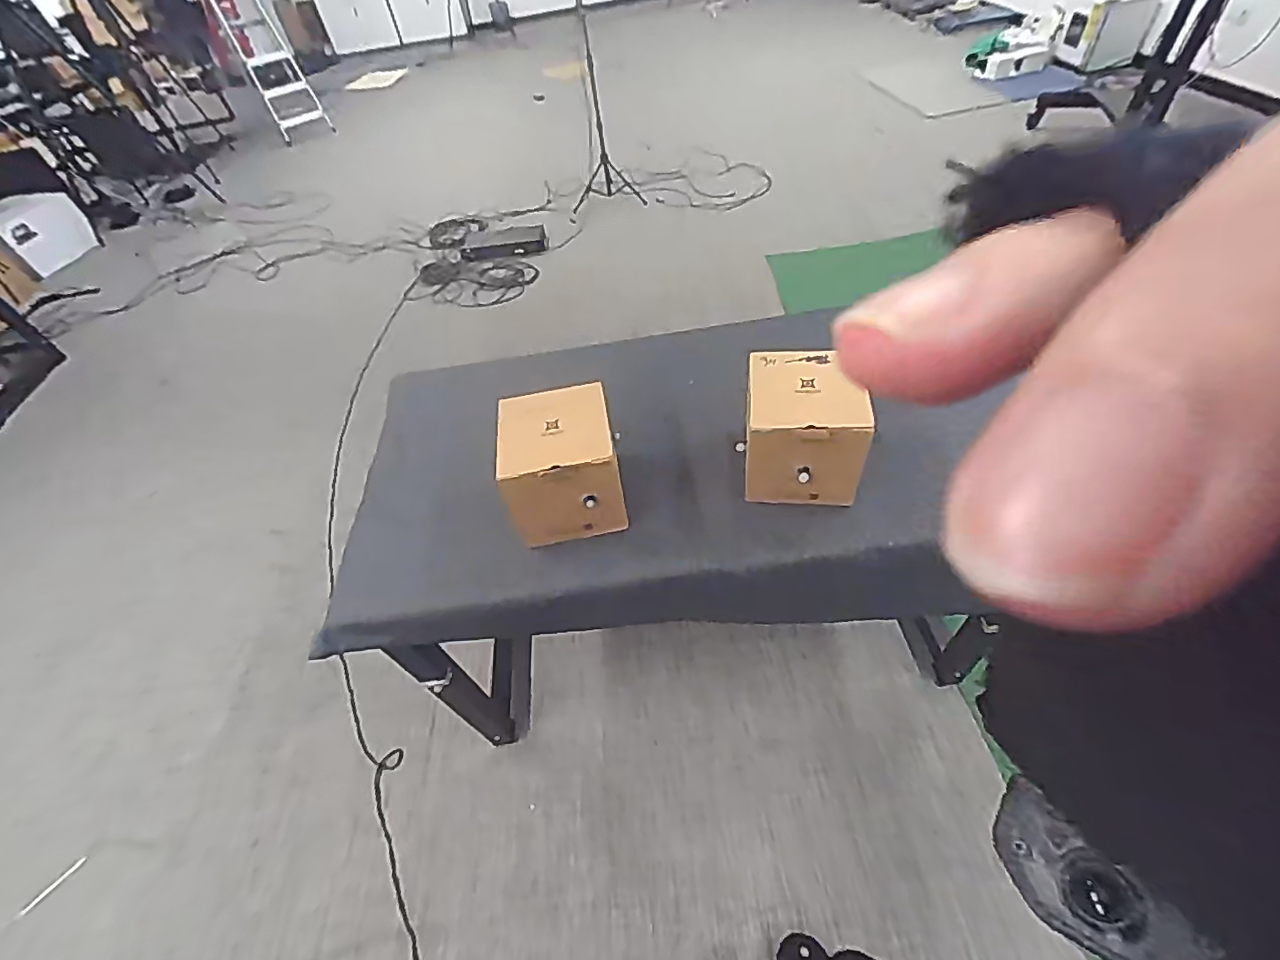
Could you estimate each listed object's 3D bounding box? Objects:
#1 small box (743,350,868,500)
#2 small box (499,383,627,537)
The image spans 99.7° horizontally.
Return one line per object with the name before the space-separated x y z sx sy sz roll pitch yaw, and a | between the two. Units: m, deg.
small box | 0.251 -0.083 0.855 0.168 0.176 0.179 2 50 10
small box | -0.120 -0.025 0.861 0.168 0.176 0.179 -11 46 -3
